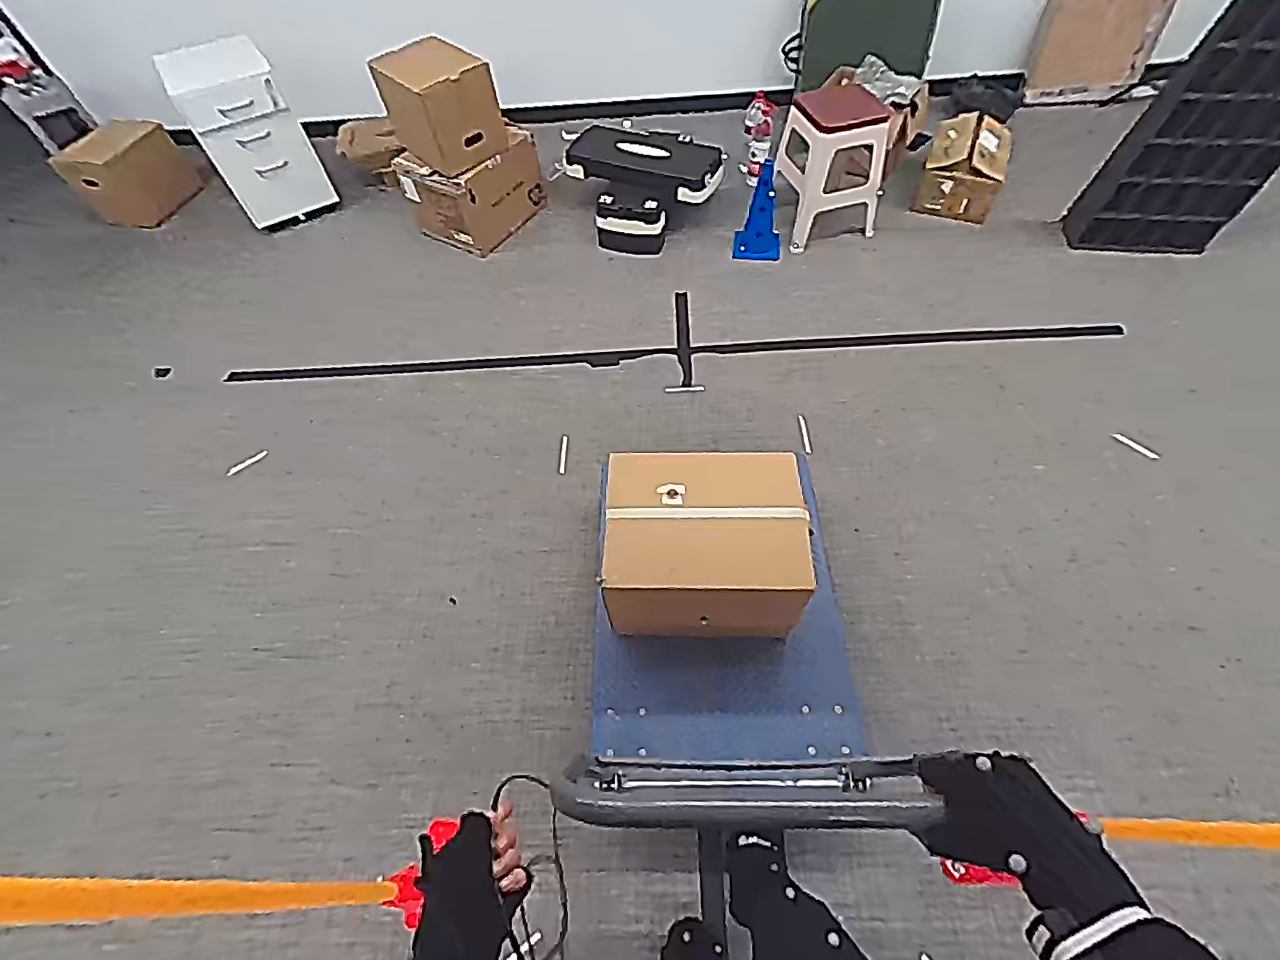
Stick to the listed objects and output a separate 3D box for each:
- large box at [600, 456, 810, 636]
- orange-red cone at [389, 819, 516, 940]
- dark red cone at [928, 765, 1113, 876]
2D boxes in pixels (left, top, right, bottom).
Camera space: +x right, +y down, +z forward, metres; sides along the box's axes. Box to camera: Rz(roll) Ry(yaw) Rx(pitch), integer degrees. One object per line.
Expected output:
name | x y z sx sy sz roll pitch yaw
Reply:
large box | 0.134 0.162 1.224 0.408 0.320 0.320 -1 57 4
orange-red cone | -0.391 0.767 1.037 0.198 0.360 0.199 4 56 6
dark red cone | 0.735 0.635 1.019 0.201 0.394 0.202 -1 57 1
